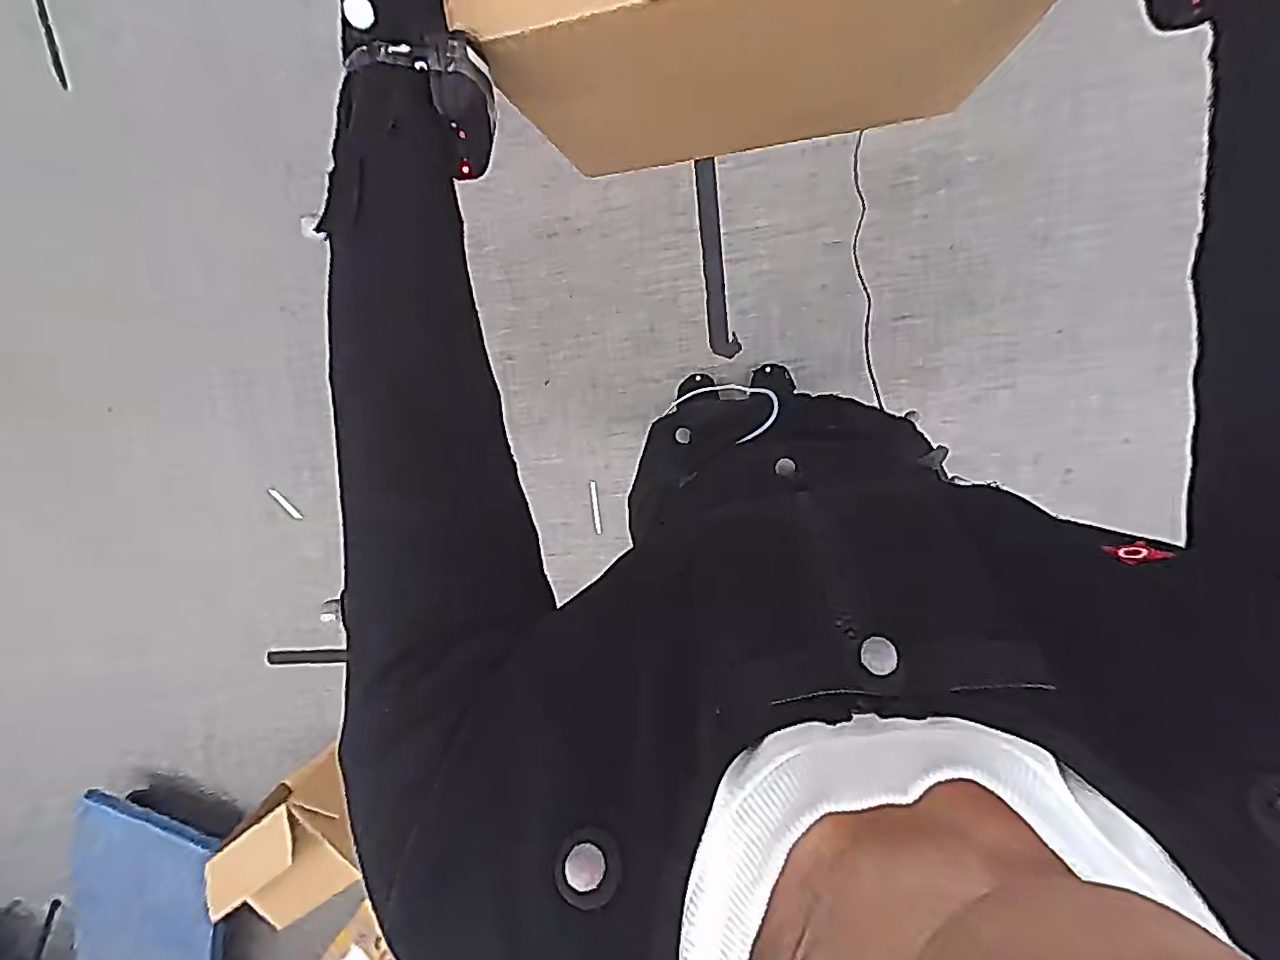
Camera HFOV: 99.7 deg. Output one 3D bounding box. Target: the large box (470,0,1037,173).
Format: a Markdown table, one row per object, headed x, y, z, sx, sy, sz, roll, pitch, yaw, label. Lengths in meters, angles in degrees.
| x | y | z | sx | sy | sz | roll | pitch | yaw | label |
| --- | --- | --- | --- | --- | --- | --- | --- | --- | --- |
| 0.089 | -0.488 | 0.428 | 0.408 | 0.320 | 0.320 | -4 | 104 | 11 | large box |
